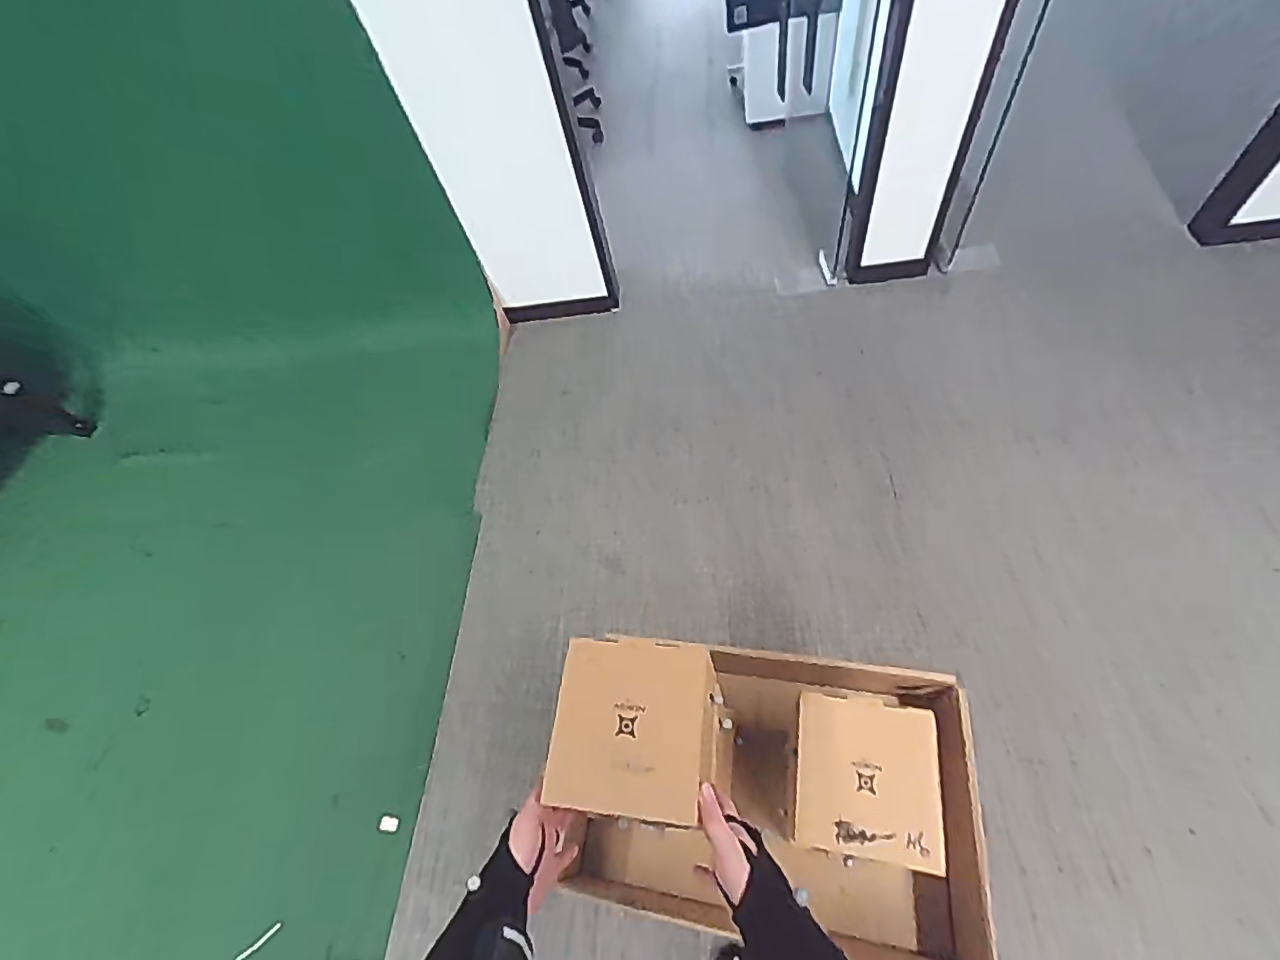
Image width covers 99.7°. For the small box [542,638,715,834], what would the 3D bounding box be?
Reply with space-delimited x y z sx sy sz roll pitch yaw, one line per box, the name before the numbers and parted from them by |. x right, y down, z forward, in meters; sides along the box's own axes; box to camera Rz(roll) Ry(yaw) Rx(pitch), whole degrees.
small box | 0.001 0.305 0.650 0.168 0.176 0.179 2 61 12

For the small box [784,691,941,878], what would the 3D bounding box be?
small box | 0.290 0.405 0.733 0.168 0.176 0.179 6 62 13

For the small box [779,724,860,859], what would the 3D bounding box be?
small box | 0.315 0.493 0.870 0.168 0.176 0.179 4 62 12

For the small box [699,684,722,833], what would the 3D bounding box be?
small box | 0.031 0.394 0.784 0.168 0.176 0.179 1 61 11
